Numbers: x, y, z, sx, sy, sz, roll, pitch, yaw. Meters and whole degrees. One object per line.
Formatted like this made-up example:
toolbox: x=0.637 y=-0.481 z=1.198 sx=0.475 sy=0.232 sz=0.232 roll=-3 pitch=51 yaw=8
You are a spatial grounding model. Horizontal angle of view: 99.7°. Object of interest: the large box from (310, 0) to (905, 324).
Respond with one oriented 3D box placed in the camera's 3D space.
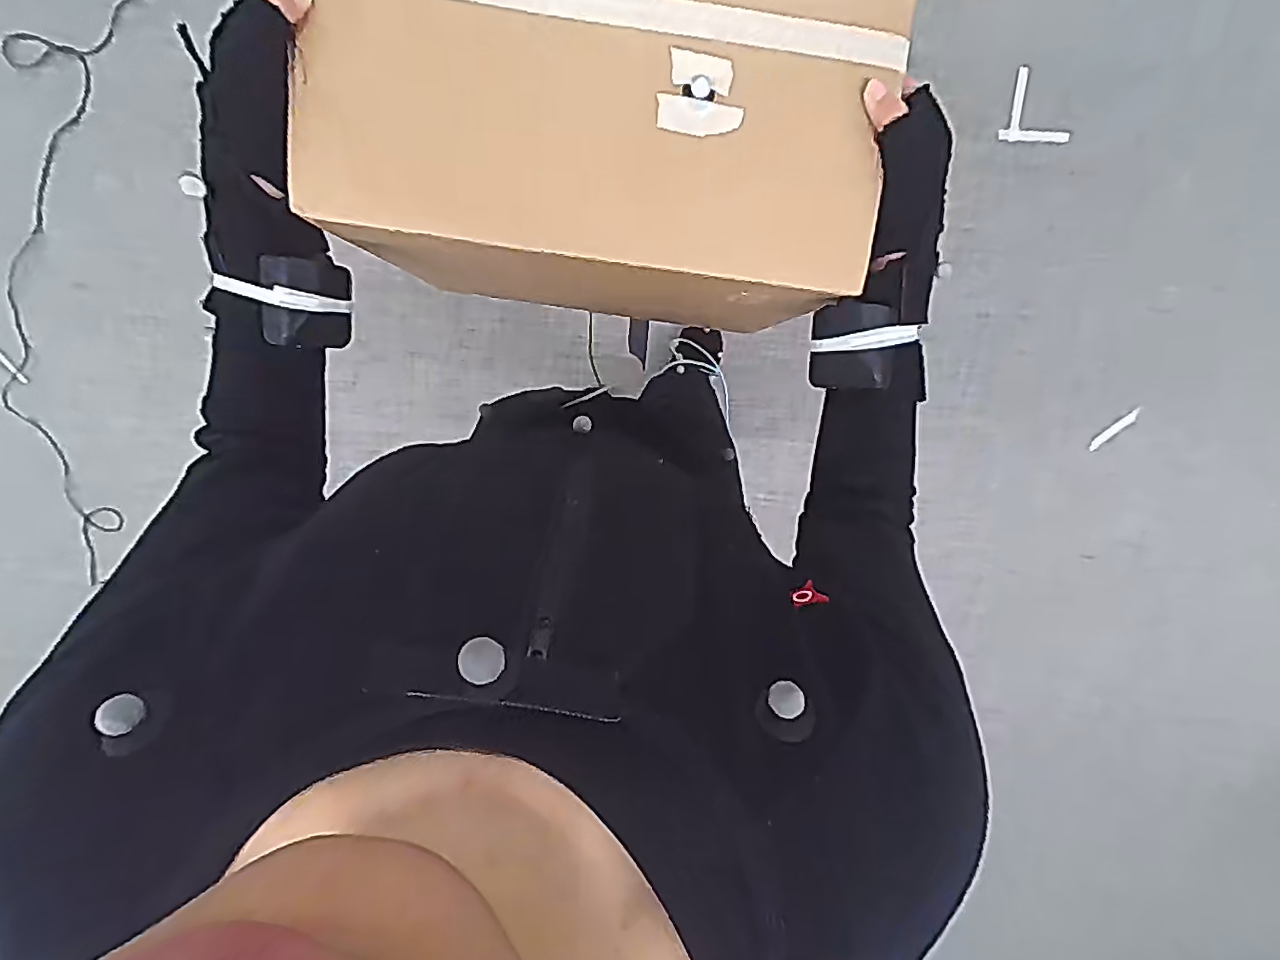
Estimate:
large box: x=-0.027 y=-0.341 z=0.513 sx=0.408 sy=0.320 sz=0.320 roll=6 pitch=101 yaw=-4
